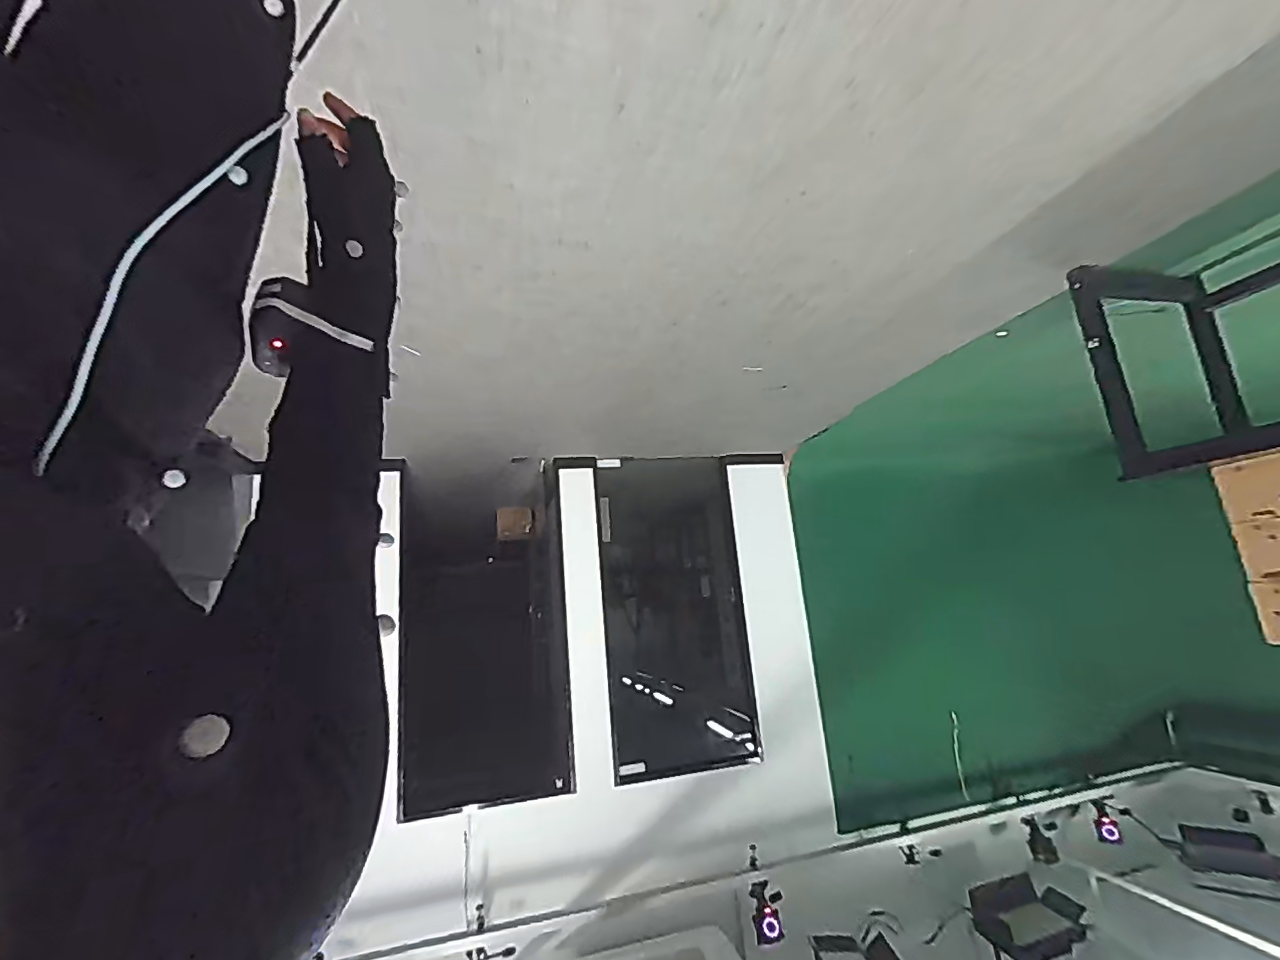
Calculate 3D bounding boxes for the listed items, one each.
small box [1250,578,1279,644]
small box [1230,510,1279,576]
[{"bbox_3d":[1.788,0.338,1.422,0.179,0.176,0.168,-5,168,-8],"label":"small box"},{"bbox_3d":[1.771,0.161,1.453,0.179,0.176,0.168,-4,167,-8],"label":"small box"}]
